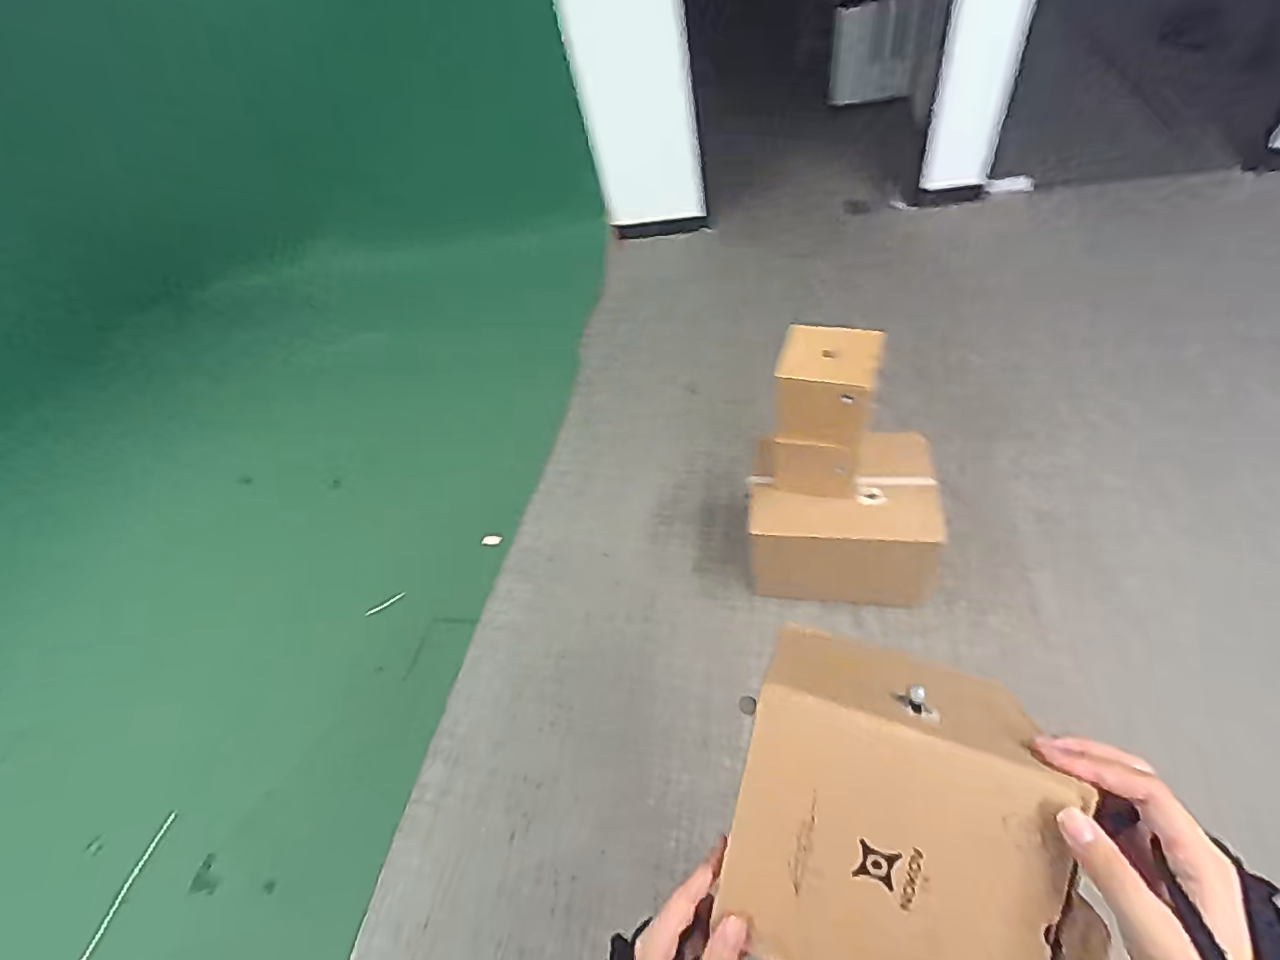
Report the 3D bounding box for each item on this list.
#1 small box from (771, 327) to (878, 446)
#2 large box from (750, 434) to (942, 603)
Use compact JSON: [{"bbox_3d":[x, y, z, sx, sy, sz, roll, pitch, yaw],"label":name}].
[{"bbox_3d":[0.373,-0.189,1.103,0.179,0.176,0.168,11,55,21],"label":"small box"},{"bbox_3d":[0.487,0.100,1.373,0.408,0.320,0.320,1,53,14],"label":"large box"}]
